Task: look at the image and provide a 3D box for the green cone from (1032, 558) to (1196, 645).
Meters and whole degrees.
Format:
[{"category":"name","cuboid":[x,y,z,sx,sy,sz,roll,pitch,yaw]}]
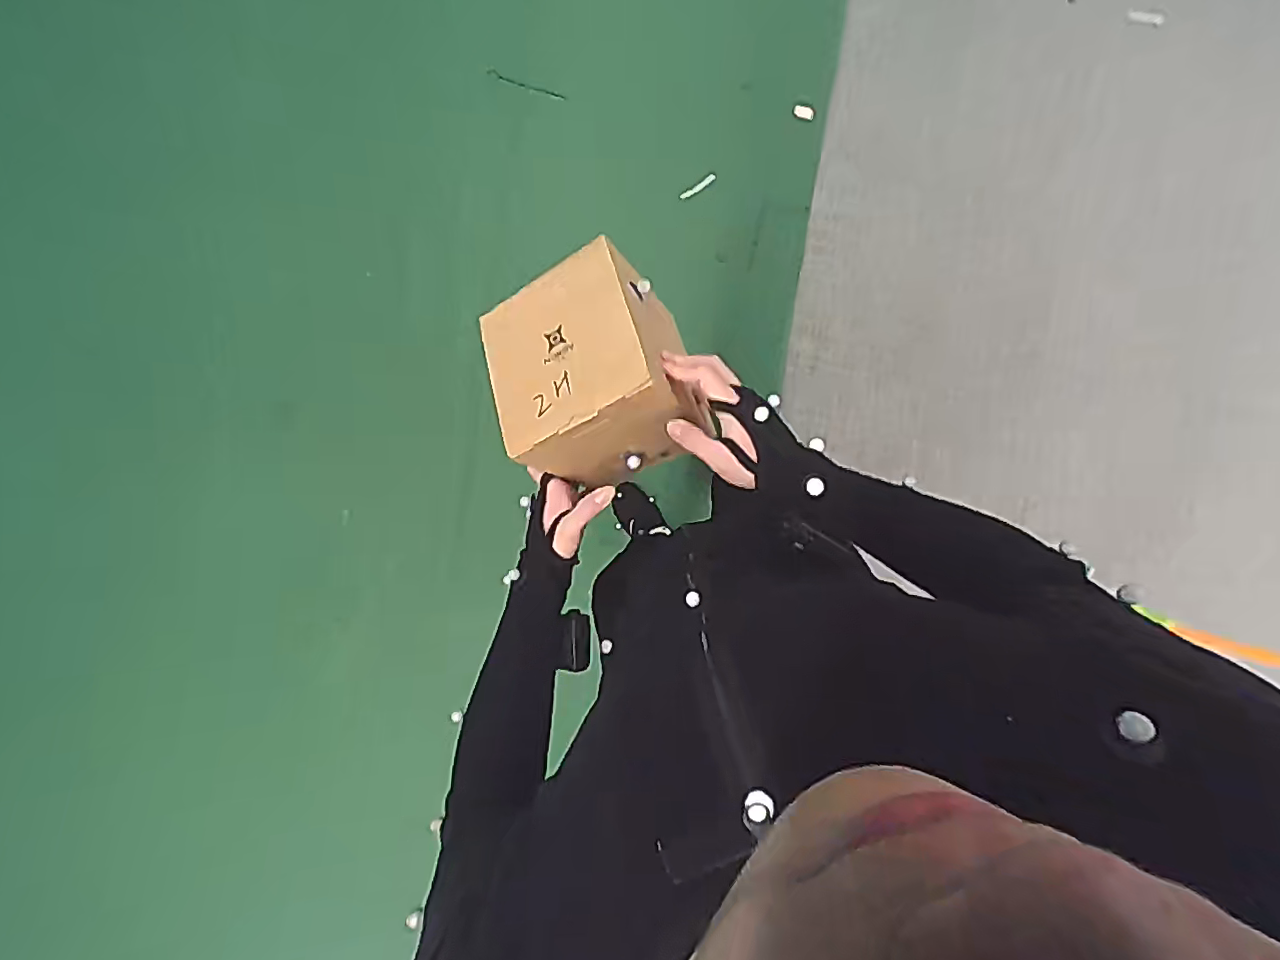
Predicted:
[{"category":"green cone","cuboid":[1.303,0.356,1.466,0.200,0.368,0.202,9,94,-1]}]
